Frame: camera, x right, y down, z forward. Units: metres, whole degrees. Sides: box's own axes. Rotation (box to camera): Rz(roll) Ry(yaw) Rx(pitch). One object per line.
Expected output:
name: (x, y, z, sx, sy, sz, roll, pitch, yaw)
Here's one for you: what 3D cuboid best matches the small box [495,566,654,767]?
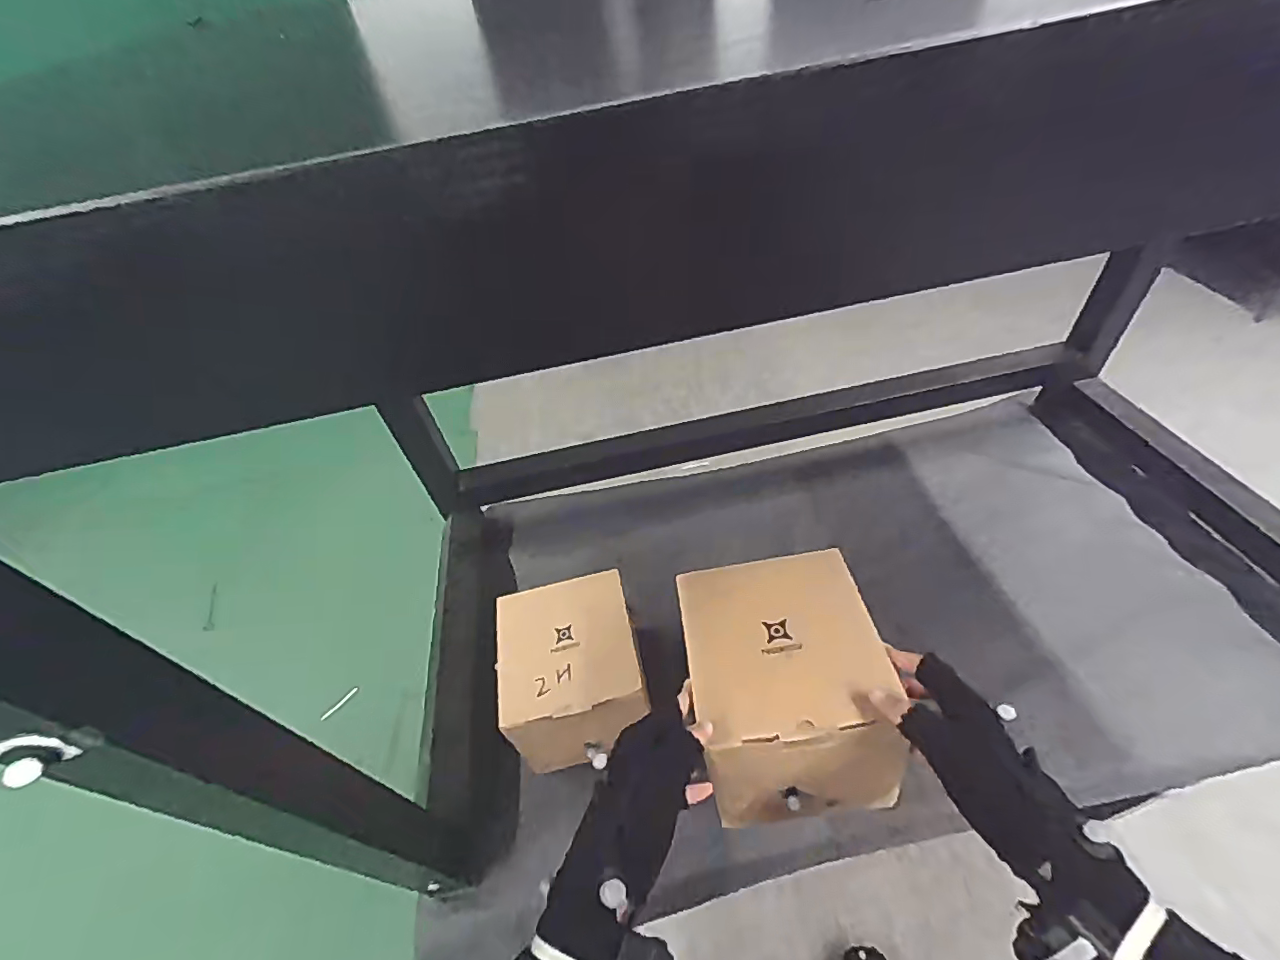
small box: (-0.084, 0.245, 0.712, 0.168, 0.176, 0.179, -14, 46, -2)
